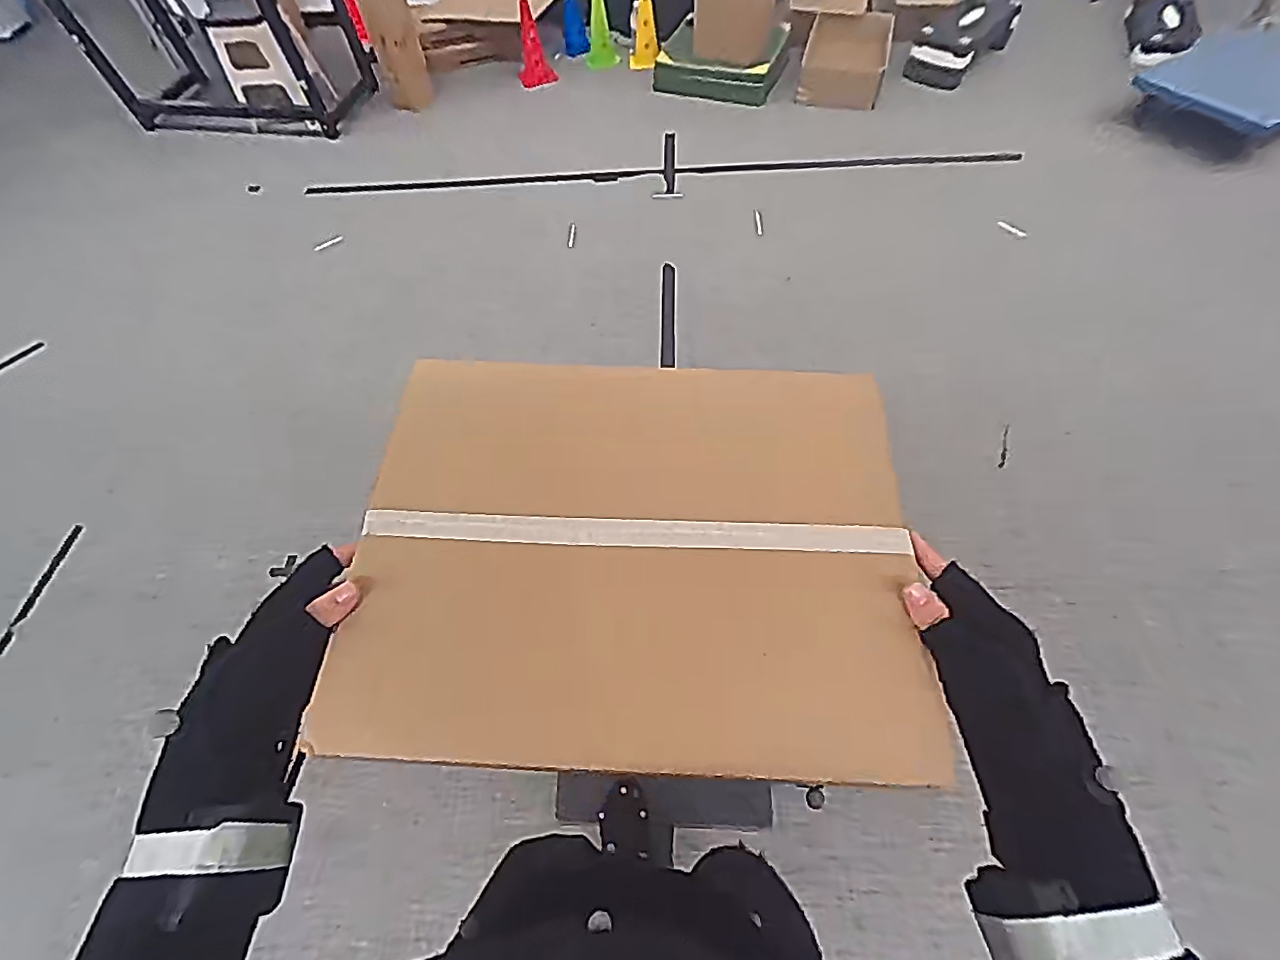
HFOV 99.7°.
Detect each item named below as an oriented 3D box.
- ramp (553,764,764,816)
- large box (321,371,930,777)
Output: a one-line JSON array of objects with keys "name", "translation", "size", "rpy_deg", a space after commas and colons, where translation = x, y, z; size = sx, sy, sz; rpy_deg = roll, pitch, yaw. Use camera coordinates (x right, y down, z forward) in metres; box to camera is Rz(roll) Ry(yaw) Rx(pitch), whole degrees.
[{"name": "ramp", "translation": [0.049, 0.295, 1.406], "size": [0.509, 0.206, 0.991], "rpy_deg": [-1, 60, 1]}, {"name": "large box", "translation": [-0.004, 0.111, 0.547], "size": [0.408, 0.320, 0.320], "rpy_deg": [3, 62, 1]}]
